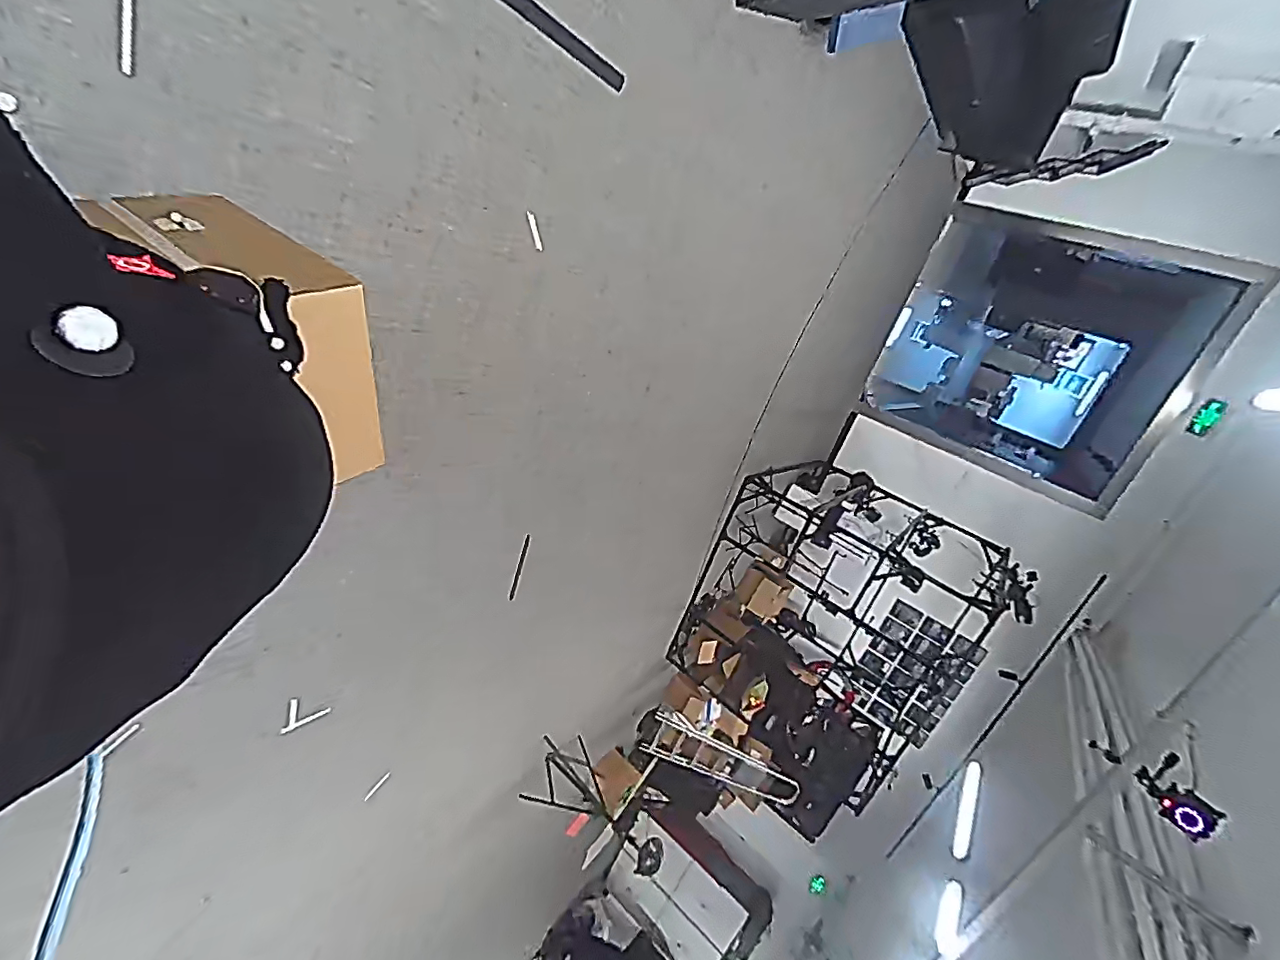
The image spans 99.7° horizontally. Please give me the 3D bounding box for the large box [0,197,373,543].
[{"bbox_3d":[-0.664,-0.181,0.789,0.320,0.408,0.320,-35,148,-44],"label":"large box"}]
